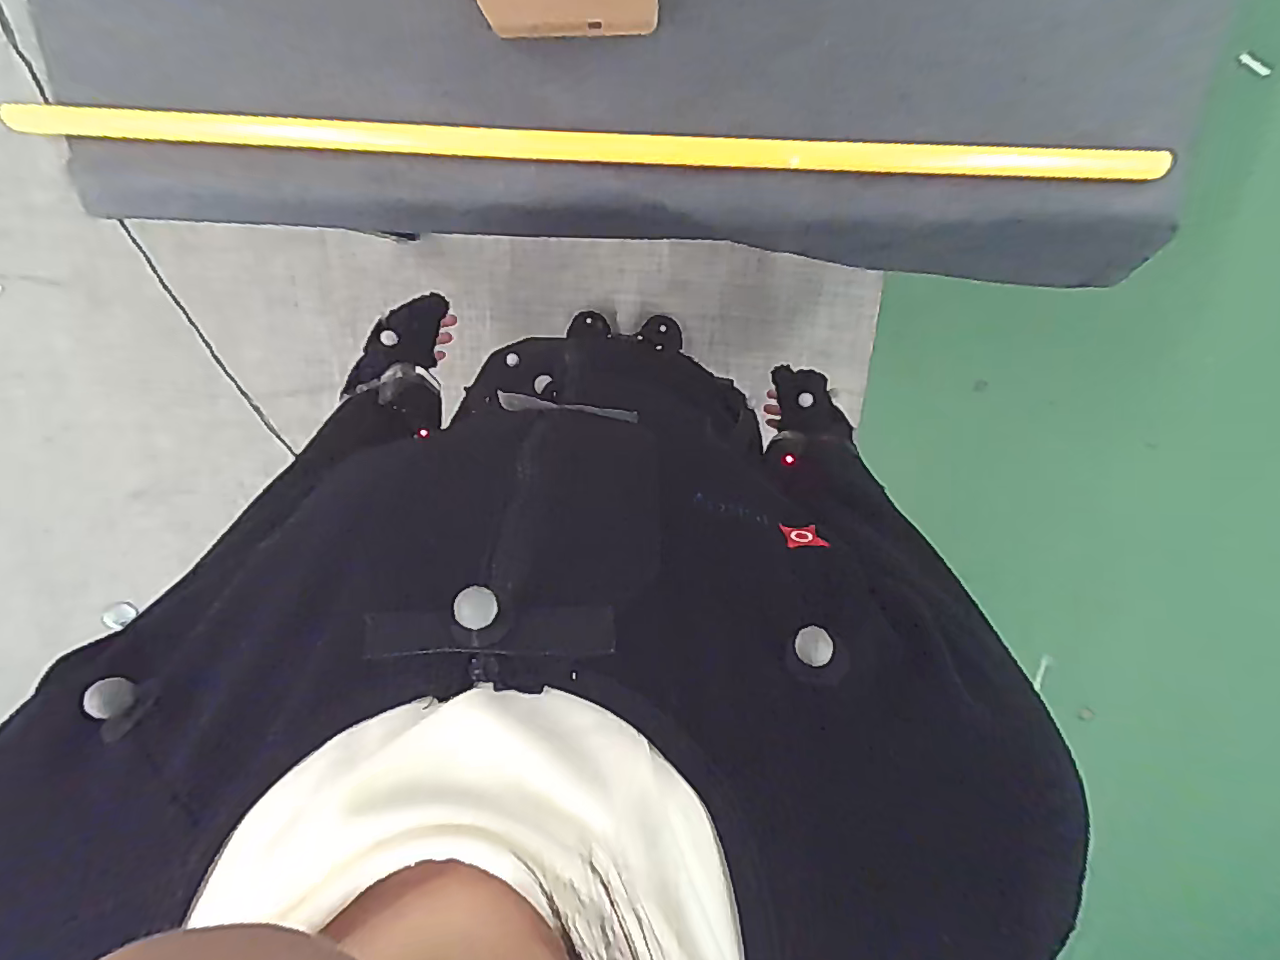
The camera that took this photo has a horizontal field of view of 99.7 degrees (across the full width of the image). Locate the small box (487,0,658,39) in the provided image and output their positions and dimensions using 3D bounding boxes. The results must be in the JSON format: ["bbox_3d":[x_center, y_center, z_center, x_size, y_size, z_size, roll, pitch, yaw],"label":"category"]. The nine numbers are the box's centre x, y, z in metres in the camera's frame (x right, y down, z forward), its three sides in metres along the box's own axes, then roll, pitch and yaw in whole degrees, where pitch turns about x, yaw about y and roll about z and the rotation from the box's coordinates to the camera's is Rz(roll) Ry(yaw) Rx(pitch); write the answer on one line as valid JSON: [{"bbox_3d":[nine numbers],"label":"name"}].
[{"bbox_3d":[-0.066,-0.512,0.449,0.168,0.176,0.179,1,107,2],"label":"small box"}]
